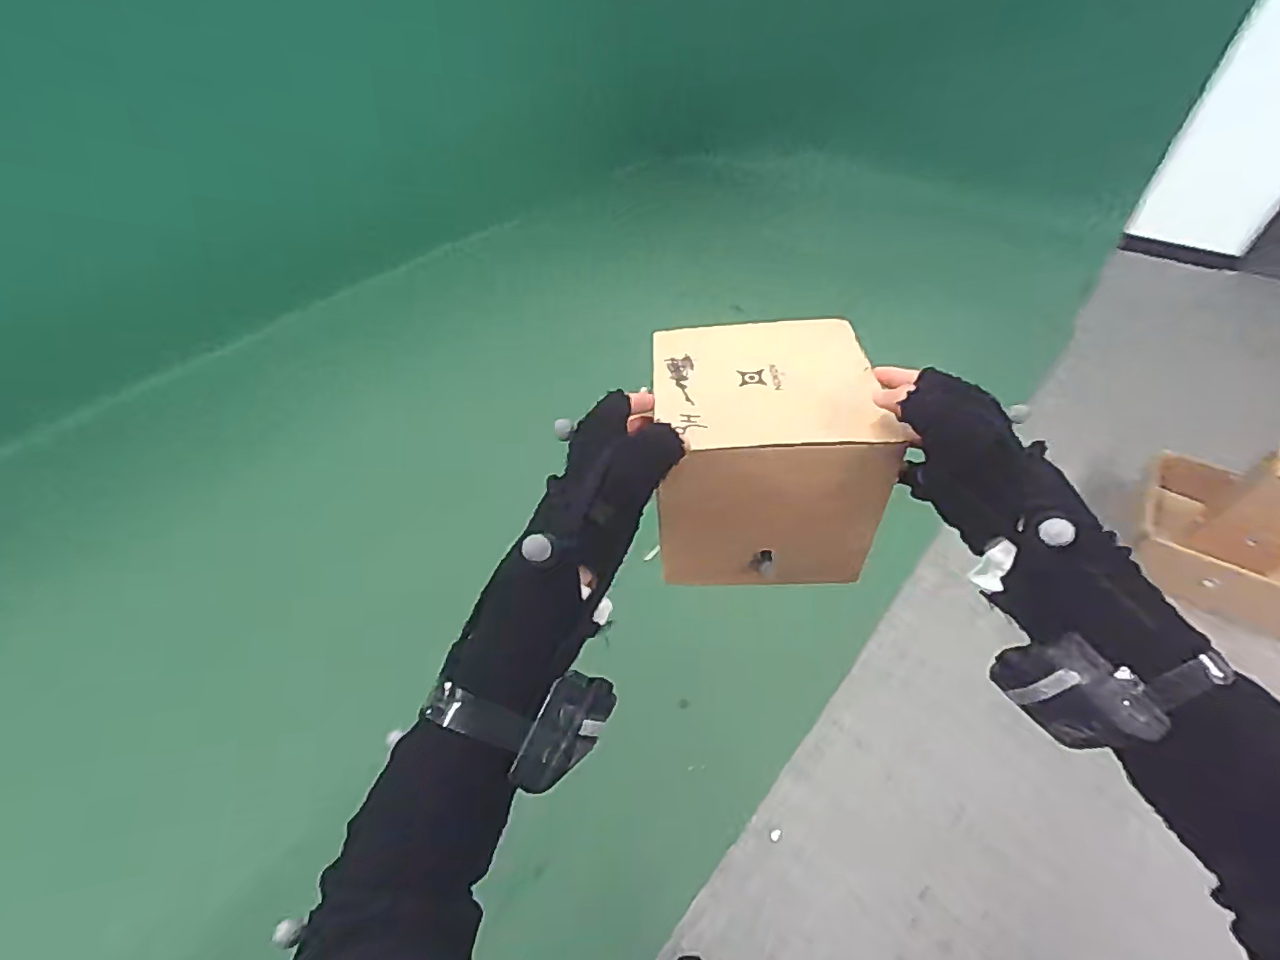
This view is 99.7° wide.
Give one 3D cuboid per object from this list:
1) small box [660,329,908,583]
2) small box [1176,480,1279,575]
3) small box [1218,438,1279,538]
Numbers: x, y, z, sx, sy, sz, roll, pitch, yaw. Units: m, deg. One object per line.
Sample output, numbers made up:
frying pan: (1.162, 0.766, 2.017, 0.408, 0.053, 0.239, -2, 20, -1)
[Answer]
small box: (0.108, -0.019, 0.492, 0.179, 0.176, 0.168, -1, 45, 4)
small box: (1.688, 0.138, 1.531, 0.179, 0.176, 0.168, 34, 60, 26)
small box: (1.679, 0.029, 1.408, 0.179, 0.176, 0.168, 33, 59, 26)
